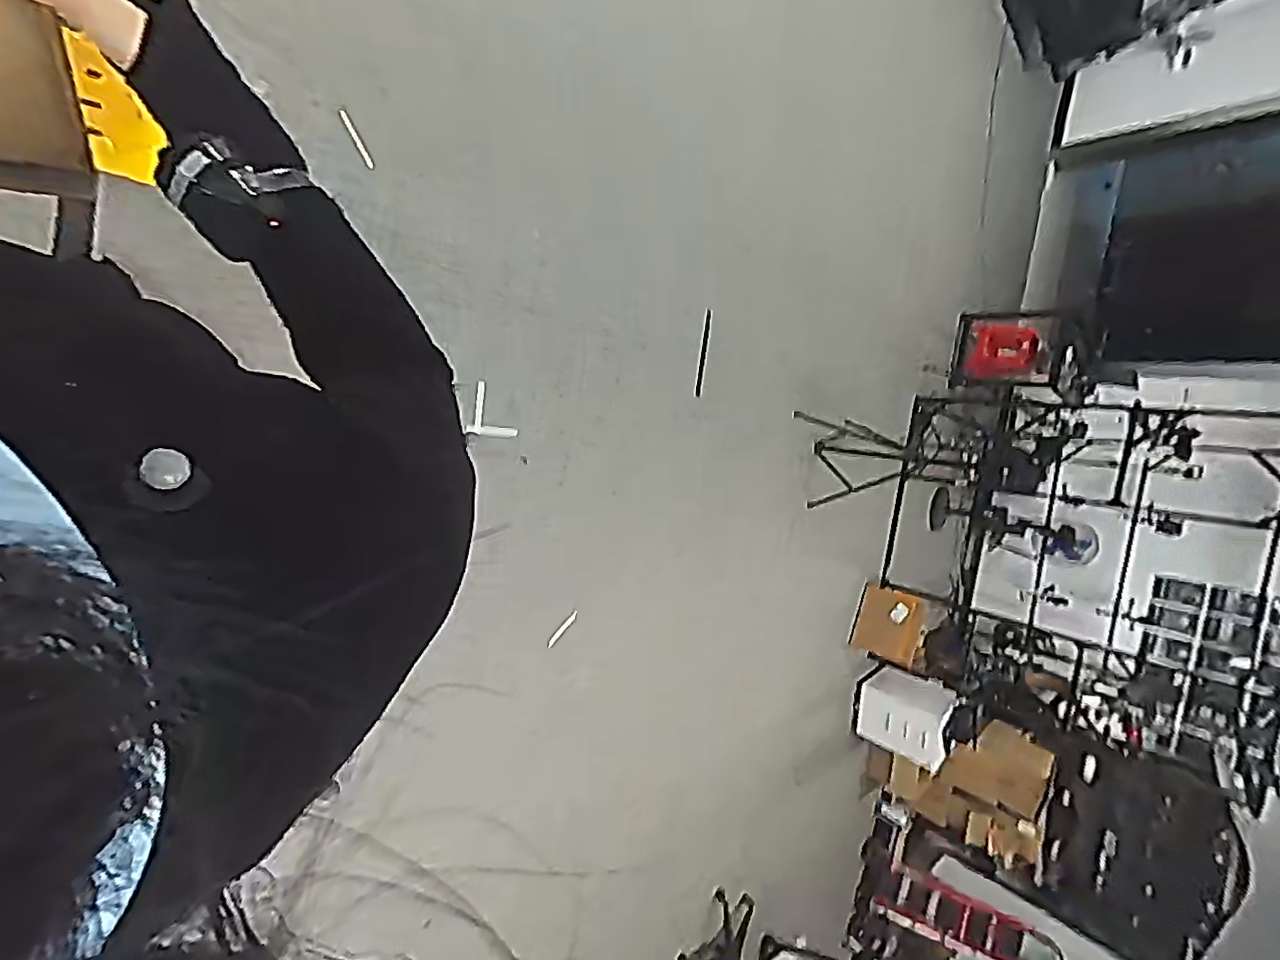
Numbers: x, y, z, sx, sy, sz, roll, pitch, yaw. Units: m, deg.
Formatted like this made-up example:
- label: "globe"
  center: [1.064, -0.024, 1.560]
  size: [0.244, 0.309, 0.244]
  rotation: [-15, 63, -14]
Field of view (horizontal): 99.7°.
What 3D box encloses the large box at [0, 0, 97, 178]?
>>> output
- label: "large box"
  center: [-0.616, -0.366, 0.291]
  size: [0.408, 0.320, 0.320]
  rotation: [-16, 118, -40]
